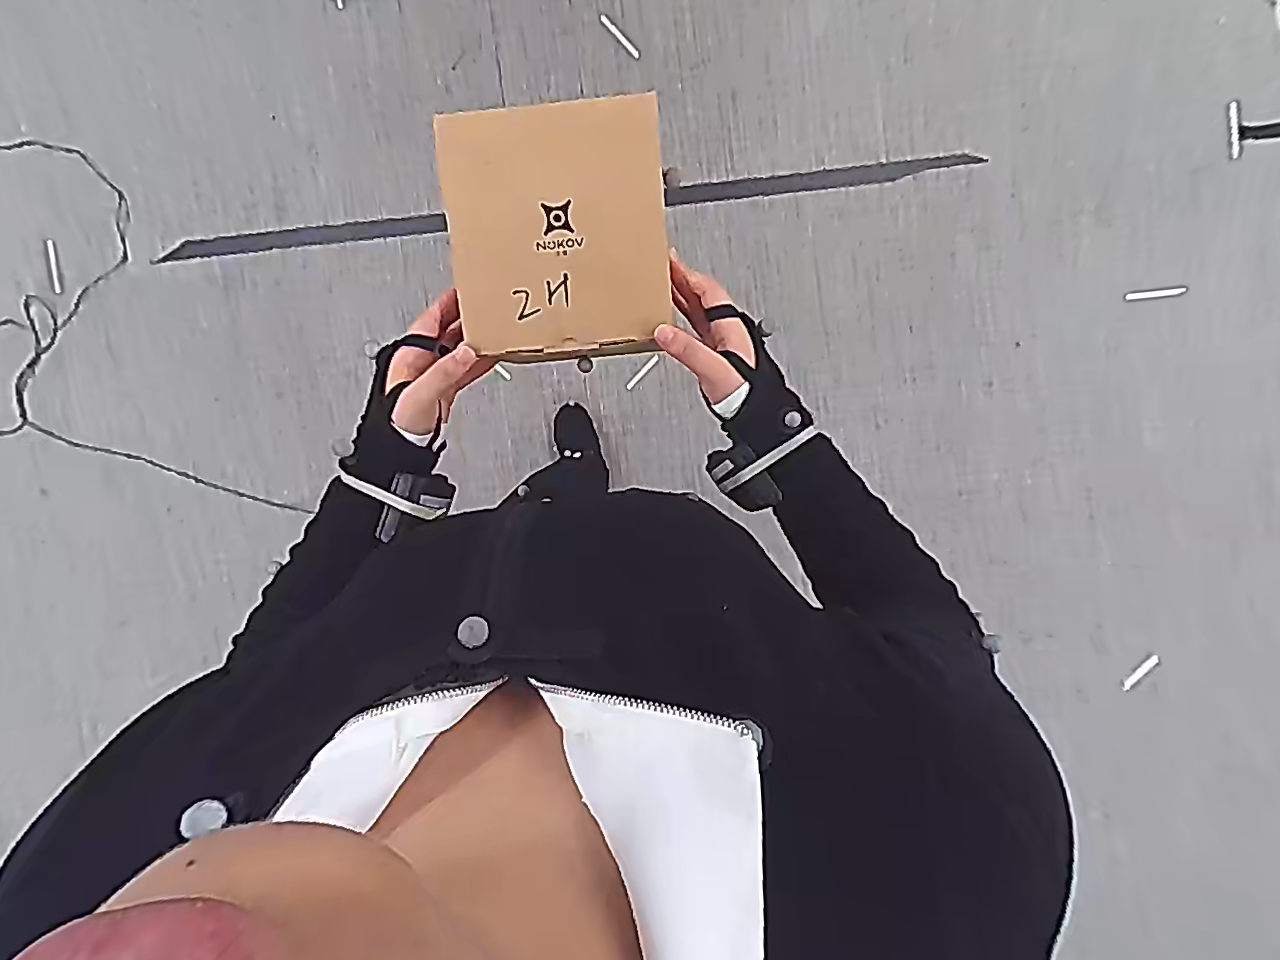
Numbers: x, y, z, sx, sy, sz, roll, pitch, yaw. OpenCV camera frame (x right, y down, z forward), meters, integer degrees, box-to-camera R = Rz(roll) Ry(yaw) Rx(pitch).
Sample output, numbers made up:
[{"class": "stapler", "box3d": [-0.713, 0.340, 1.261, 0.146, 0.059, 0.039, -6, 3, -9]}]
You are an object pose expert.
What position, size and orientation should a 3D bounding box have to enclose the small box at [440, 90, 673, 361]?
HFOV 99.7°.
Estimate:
[{"class": "small box", "box3d": [-0.061, -0.206, 0.487, 0.168, 0.176, 0.179, -4, 100, 1]}]
